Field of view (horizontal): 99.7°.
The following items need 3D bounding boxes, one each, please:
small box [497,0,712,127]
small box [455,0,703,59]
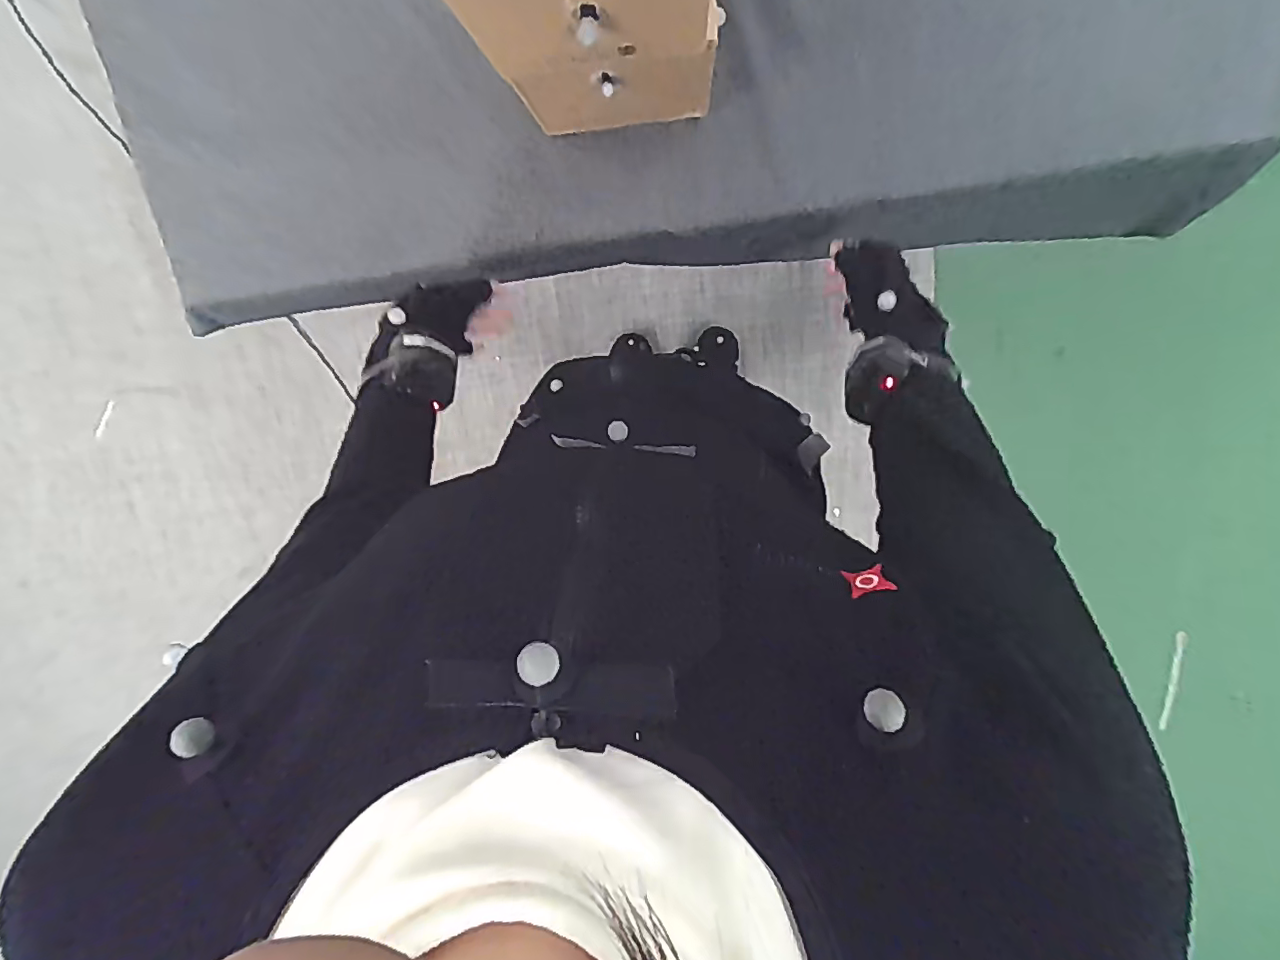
[{"bbox_3d":[-0.030,-0.443,0.488,0.179,0.176,0.168,-4,107,4],"label":"small box"},{"bbox_3d":[-0.045,-0.394,0.332,0.168,0.176,0.179,-4,107,5],"label":"small box"}]
